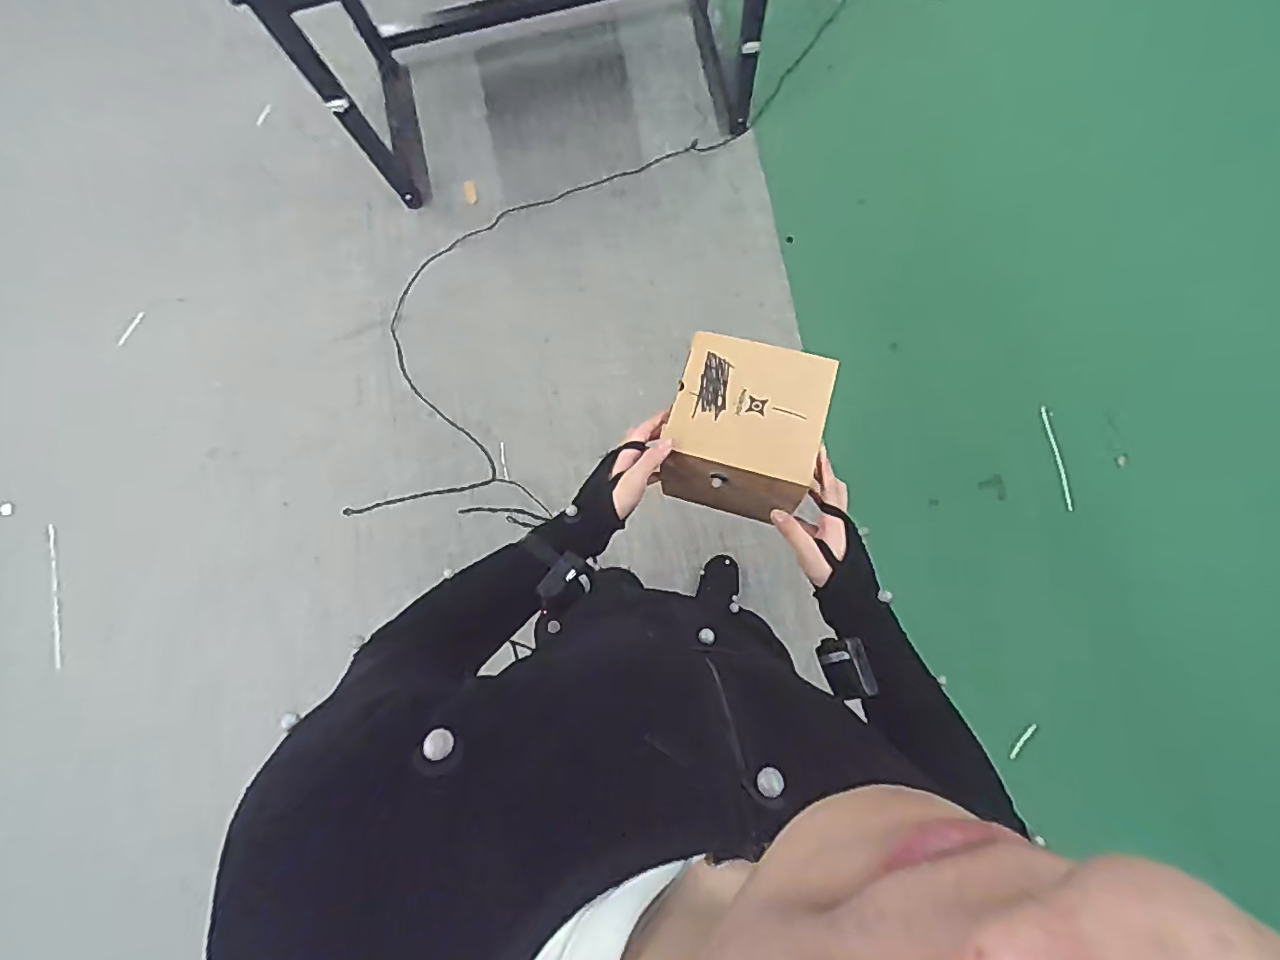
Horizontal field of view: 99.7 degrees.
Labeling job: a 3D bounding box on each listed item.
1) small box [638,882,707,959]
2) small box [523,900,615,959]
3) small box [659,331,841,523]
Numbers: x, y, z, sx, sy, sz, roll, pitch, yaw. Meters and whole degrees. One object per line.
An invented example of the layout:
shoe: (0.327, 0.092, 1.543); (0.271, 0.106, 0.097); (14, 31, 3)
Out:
small box: (0.081, 1.164, 1.370); (0.168, 0.176, 0.179); (2, 83, 5)
small box: (-0.175, 1.221, 1.377); (0.168, 0.176, 0.179); (-24, 81, 0)
small box: (0.132, -0.058, 0.687); (0.179, 0.176, 0.168); (15, 72, 10)
